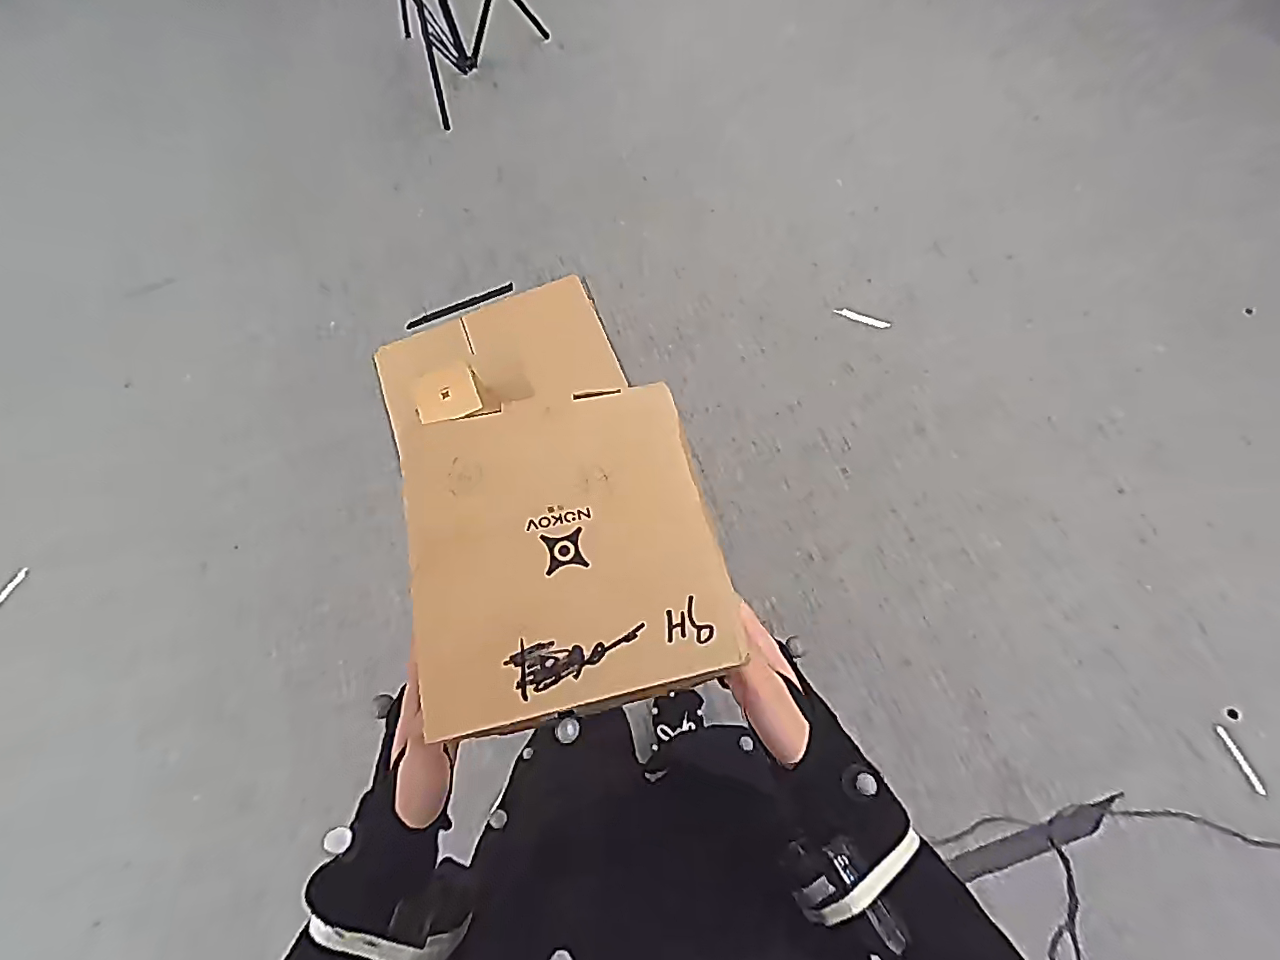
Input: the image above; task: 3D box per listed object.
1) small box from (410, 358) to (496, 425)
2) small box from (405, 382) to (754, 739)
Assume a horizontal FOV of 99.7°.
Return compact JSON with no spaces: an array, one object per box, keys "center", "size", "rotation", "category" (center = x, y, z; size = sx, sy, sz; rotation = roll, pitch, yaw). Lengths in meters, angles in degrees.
[{"center":[-0.509,-0.205,1.518],"size":[0.168,0.176,0.179],"rotation":[-24,70,-3],"category":"small box"},{"center":[-0.043,0.063,0.367],"size":[0.168,0.176,0.179],"rotation":[-12,67,-6],"category":"small box"}]
